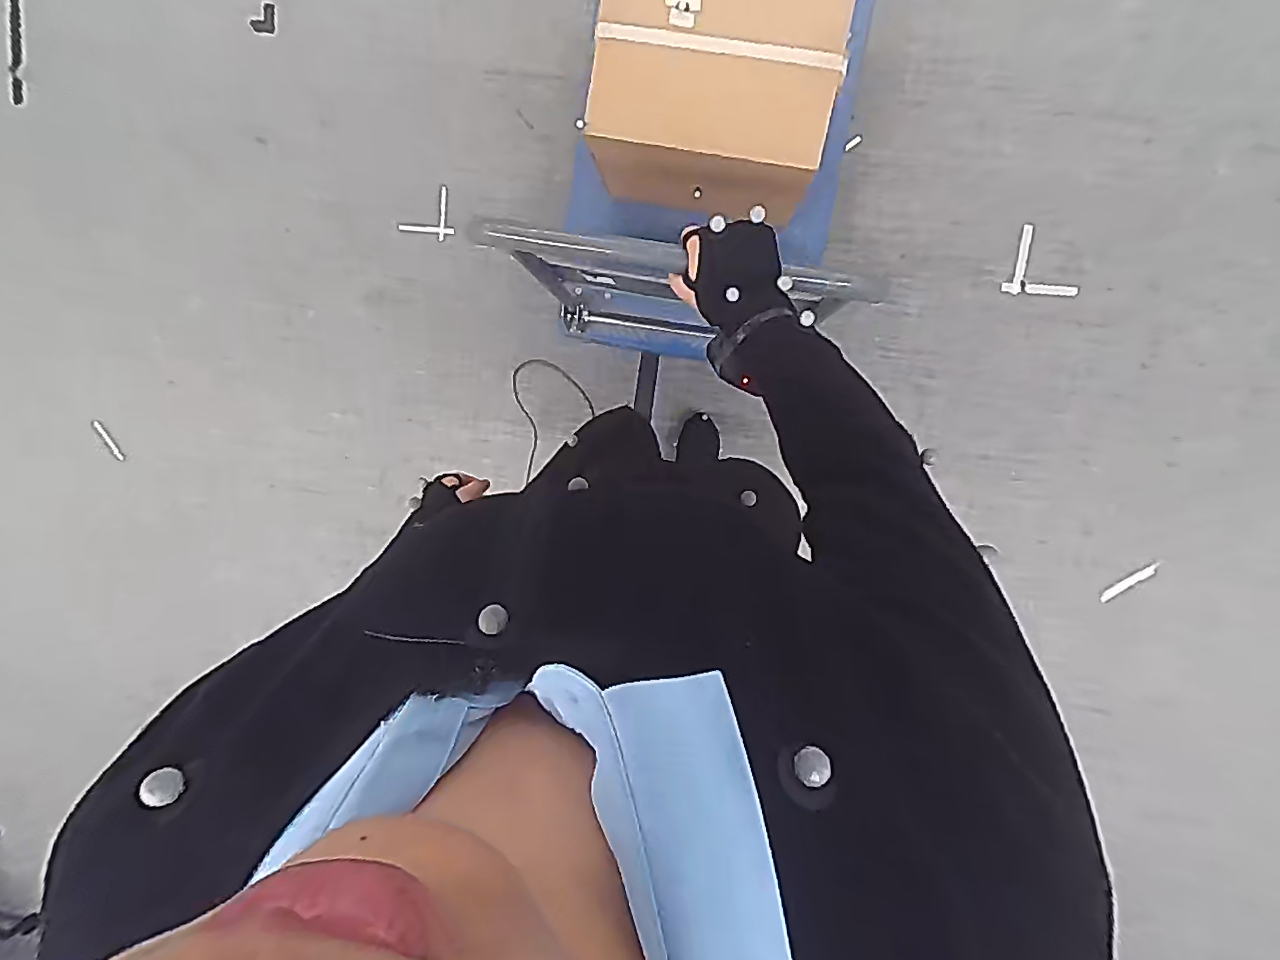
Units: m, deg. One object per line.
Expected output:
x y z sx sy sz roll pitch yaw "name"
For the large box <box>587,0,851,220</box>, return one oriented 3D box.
0.145 -0.729 1.041 0.408 0.320 0.320 12 99 5 "large box"
